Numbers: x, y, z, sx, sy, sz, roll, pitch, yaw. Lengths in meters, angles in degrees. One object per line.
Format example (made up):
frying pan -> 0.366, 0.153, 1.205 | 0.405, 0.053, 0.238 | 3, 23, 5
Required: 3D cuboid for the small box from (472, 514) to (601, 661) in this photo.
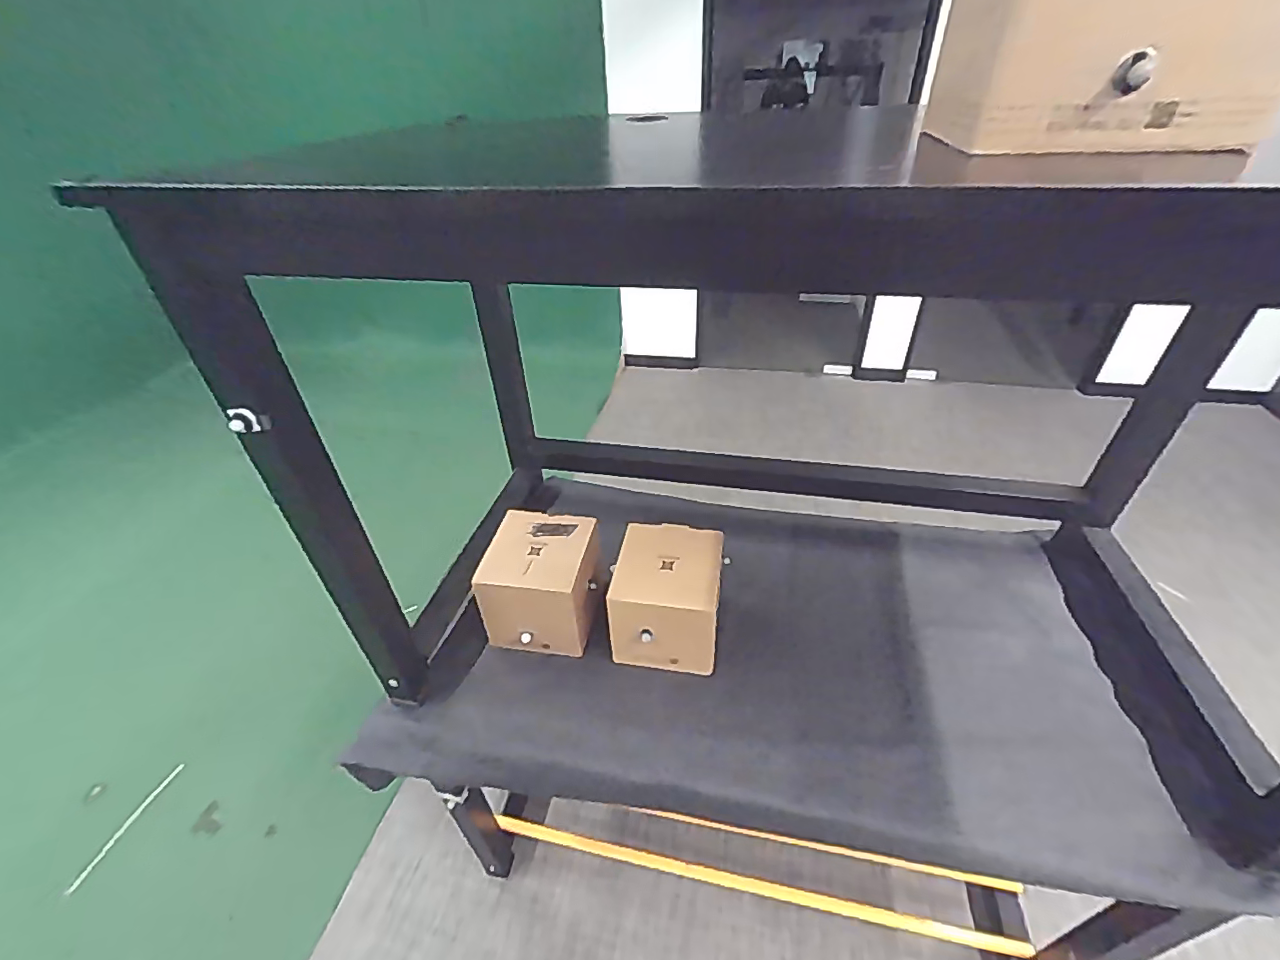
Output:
small box -> -0.167, 0.184, 0.942 | 0.168, 0.176, 0.179 | 4, 38, 9
